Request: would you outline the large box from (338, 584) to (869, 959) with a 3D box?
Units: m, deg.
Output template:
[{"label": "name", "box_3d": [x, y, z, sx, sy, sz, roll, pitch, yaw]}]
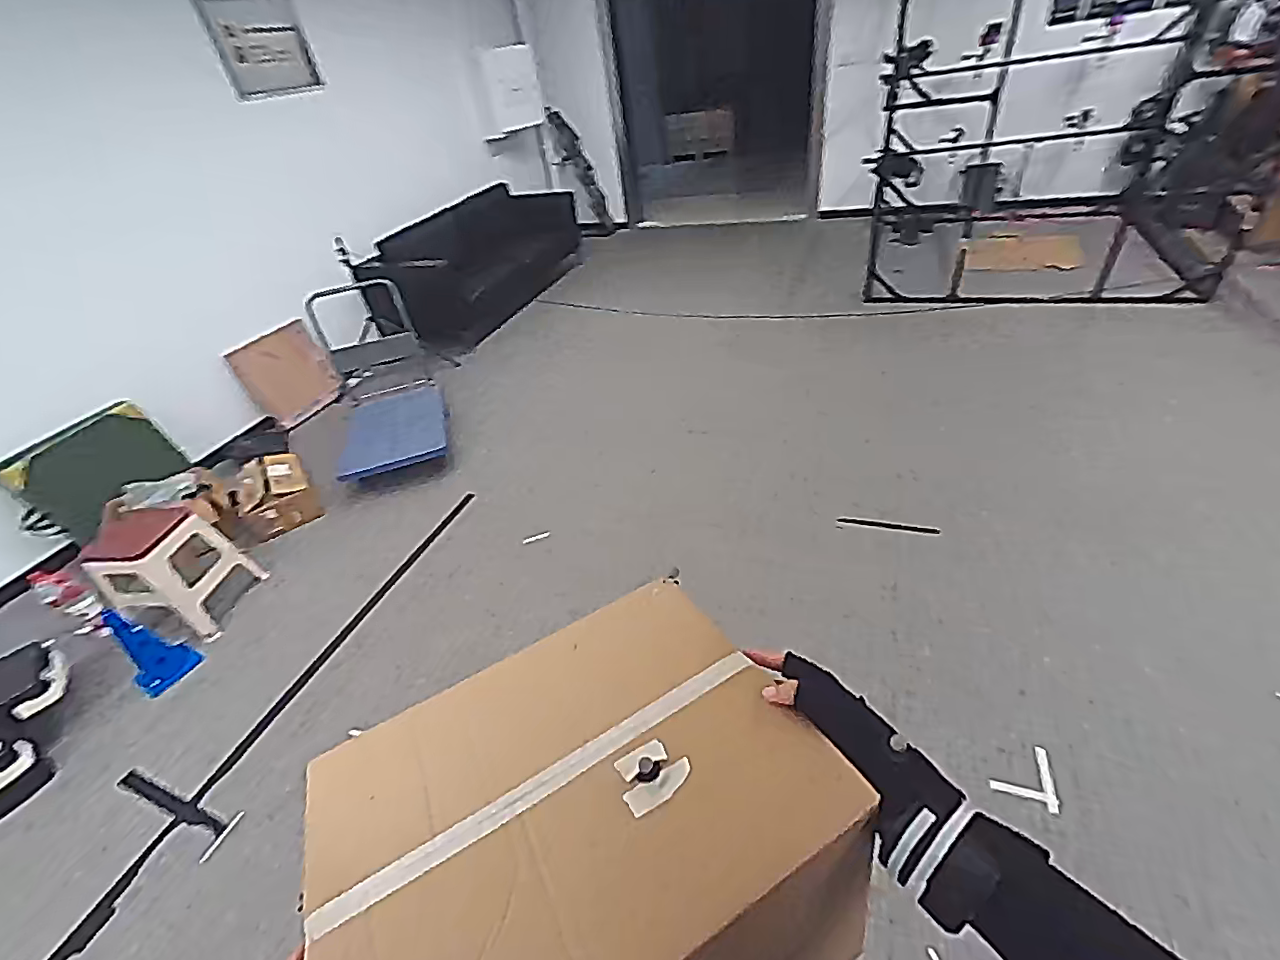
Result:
[{"label": "large box", "box_3d": [-0.032, 0.386, 0.554, 0.408, 0.320, 0.320, -24, 34, -18]}]
